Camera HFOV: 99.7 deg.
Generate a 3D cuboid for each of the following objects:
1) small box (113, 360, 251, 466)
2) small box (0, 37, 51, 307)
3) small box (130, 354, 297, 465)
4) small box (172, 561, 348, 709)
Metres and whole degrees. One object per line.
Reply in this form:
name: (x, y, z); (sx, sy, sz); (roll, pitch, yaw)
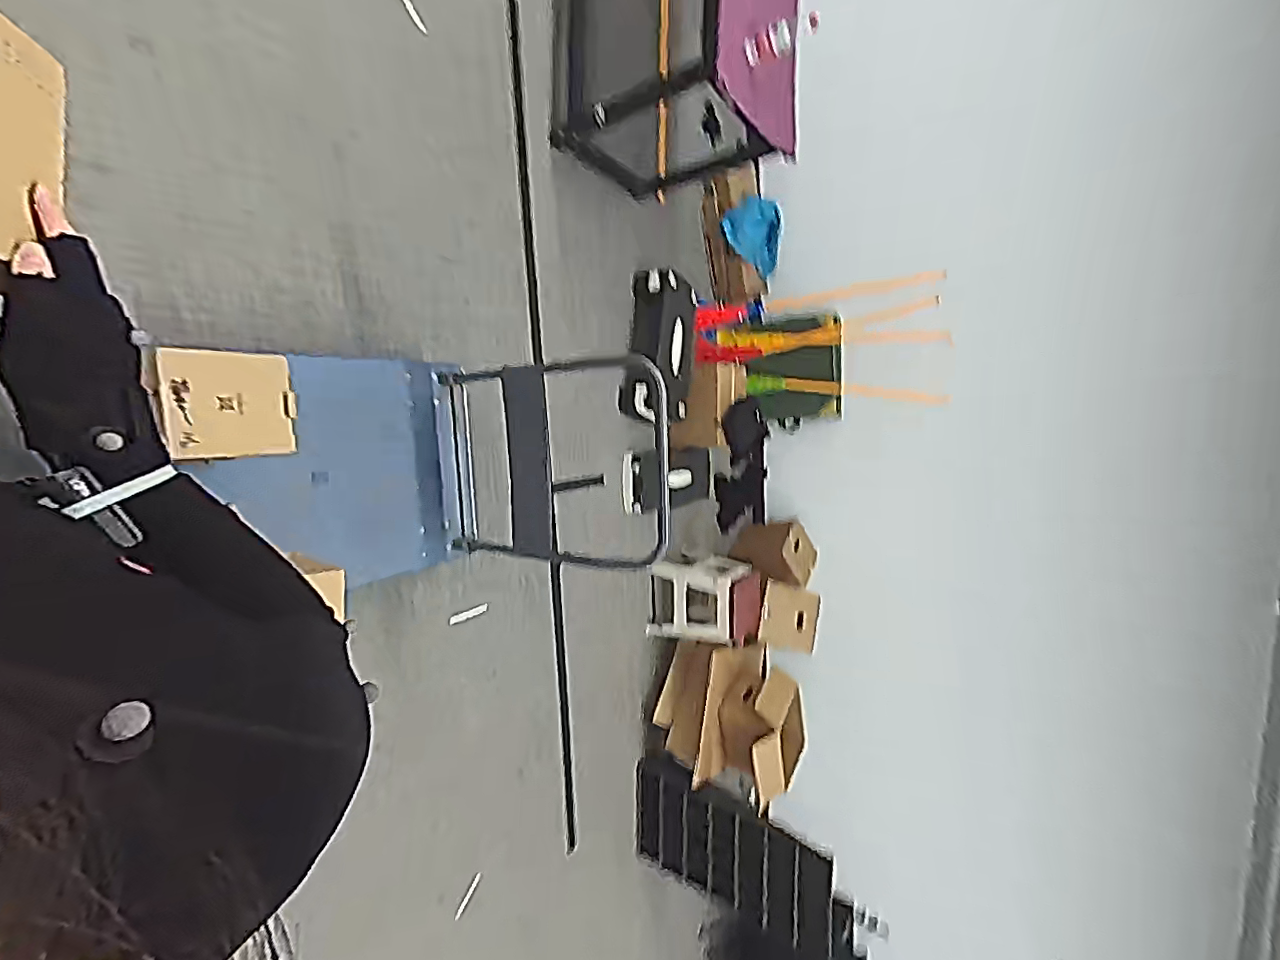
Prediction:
small box: (-0.849, -0.118, 1.006); (0.168, 0.176, 0.179); (-5, 96, -54)
small box: (-0.487, -0.201, 0.292); (0.168, 0.179, 0.176); (83, -1, -85)
small box: (-0.715, -0.115, 0.912); (0.179, 0.176, 0.168); (-9, 100, -55)
small box: (-0.586, 0.224, 0.840); (0.179, 0.176, 0.168); (0, 93, -55)
